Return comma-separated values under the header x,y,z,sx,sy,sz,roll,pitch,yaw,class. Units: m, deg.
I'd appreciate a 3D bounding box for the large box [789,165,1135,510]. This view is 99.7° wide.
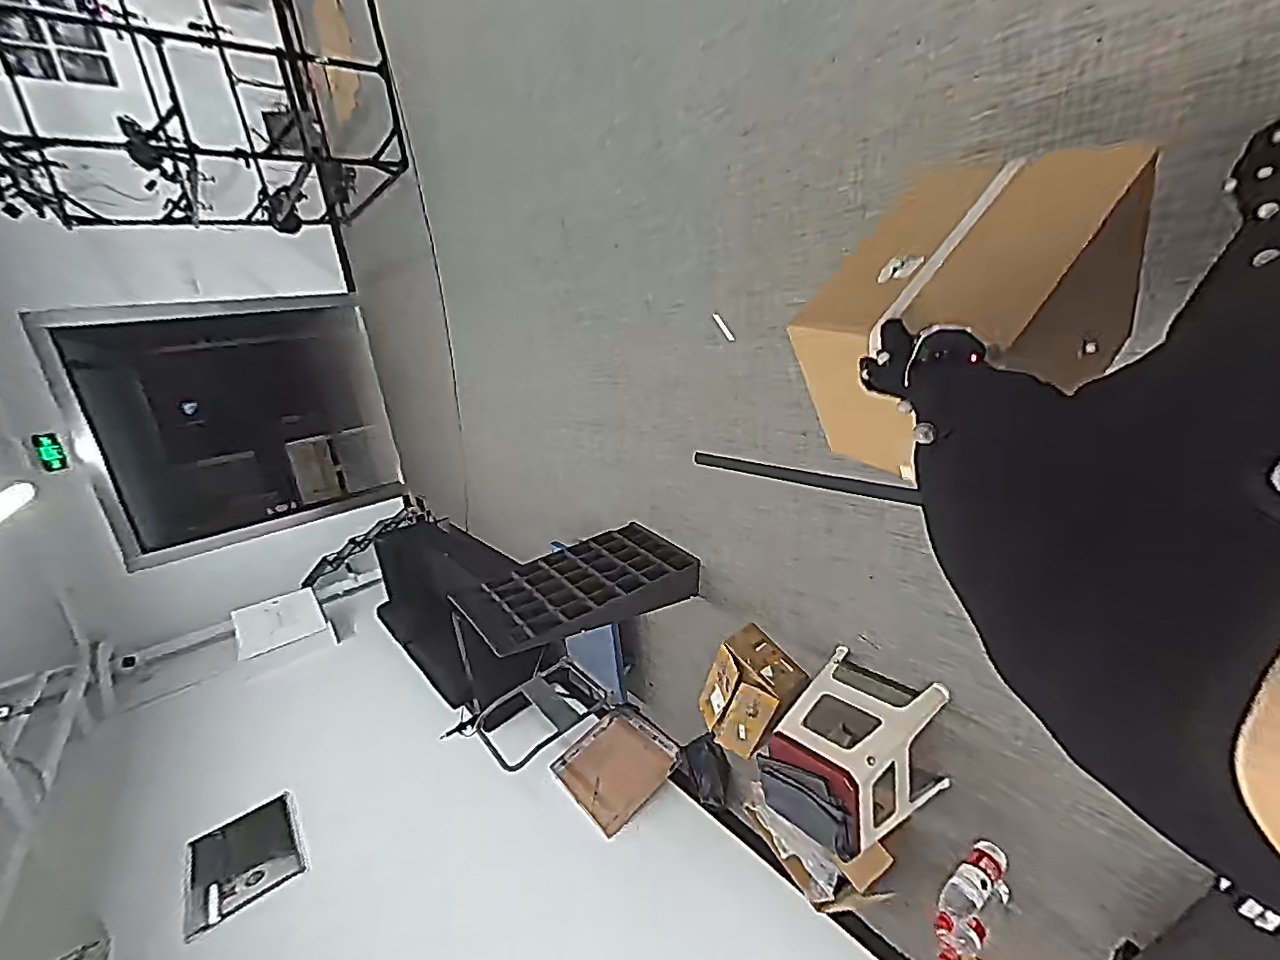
x,y,z,sx,sy,sz,roll,pitch,yaw,class
0.517,-0.230,0.879,0.320,0.408,0.320,25,159,48,large box
